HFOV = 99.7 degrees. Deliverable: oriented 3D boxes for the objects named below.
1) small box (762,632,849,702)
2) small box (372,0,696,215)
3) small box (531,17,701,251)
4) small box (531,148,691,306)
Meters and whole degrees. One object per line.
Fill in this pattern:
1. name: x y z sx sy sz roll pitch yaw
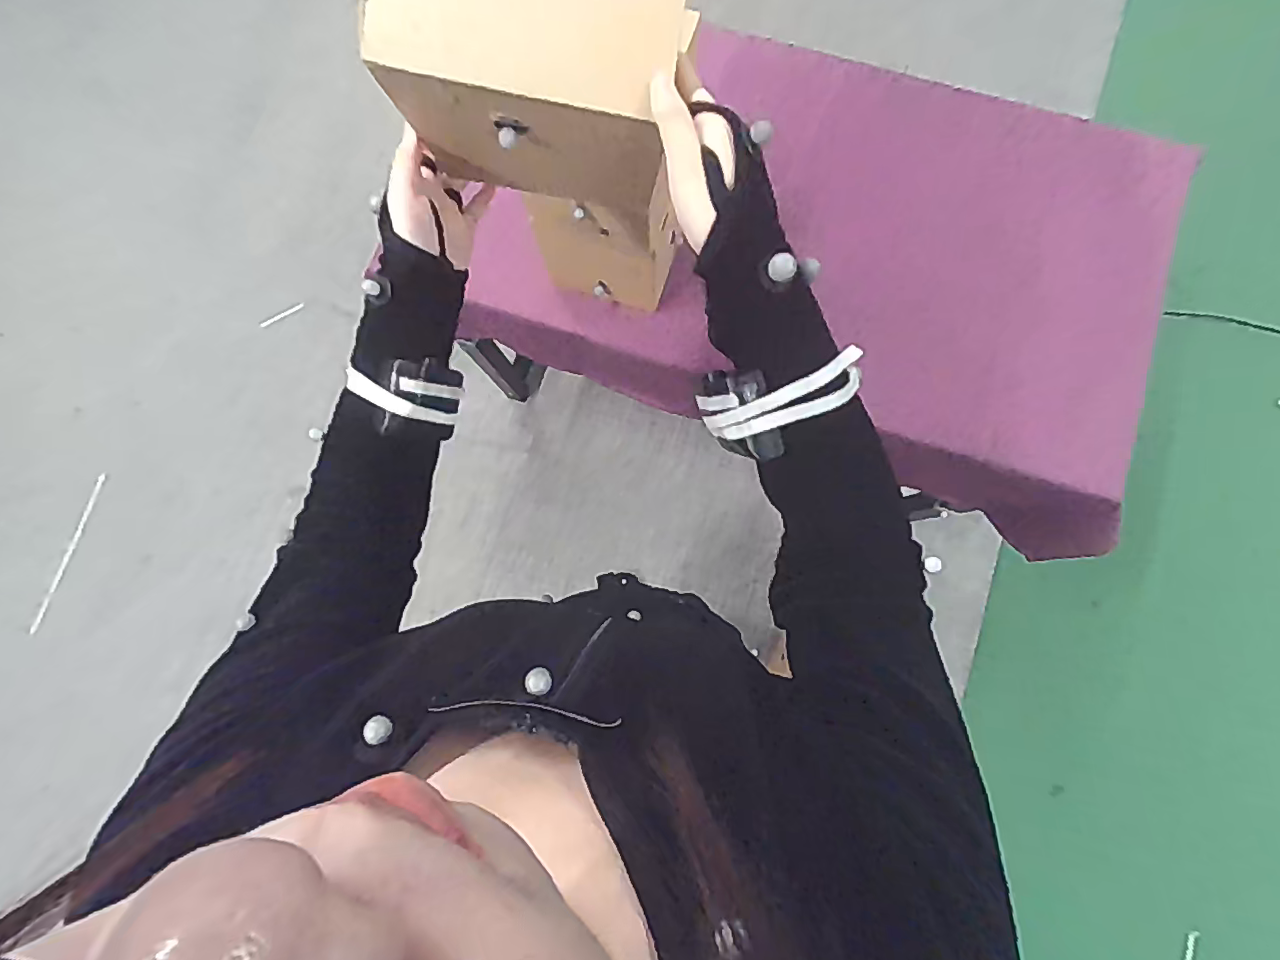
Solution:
1. small box: 0.432 0.501 1.389 0.179 0.176 0.168 22 83 4
2. small box: -0.058 -0.305 0.377 0.179 0.176 0.168 8 100 -6
3. small box: -0.038 -0.408 0.631 0.168 0.176 0.179 18 82 5
4. small box: -0.036 -0.379 0.794 0.179 0.176 0.168 17 82 3
